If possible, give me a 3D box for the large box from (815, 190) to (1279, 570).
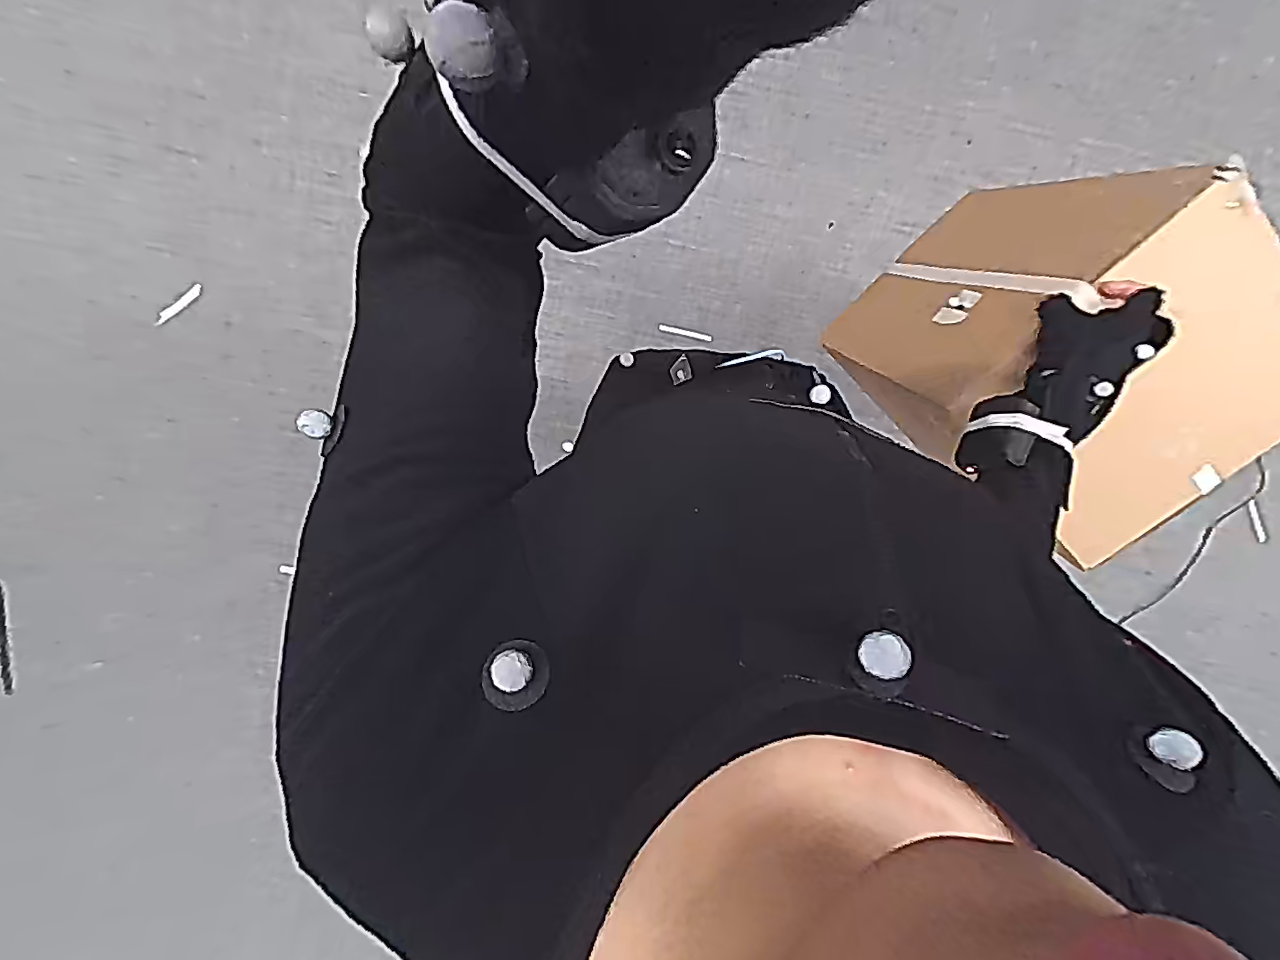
[{"bbox_3d":[0.524,-0.155,0.760,0.320,0.408,0.320,40,107,-20],"label":"large box"}]
